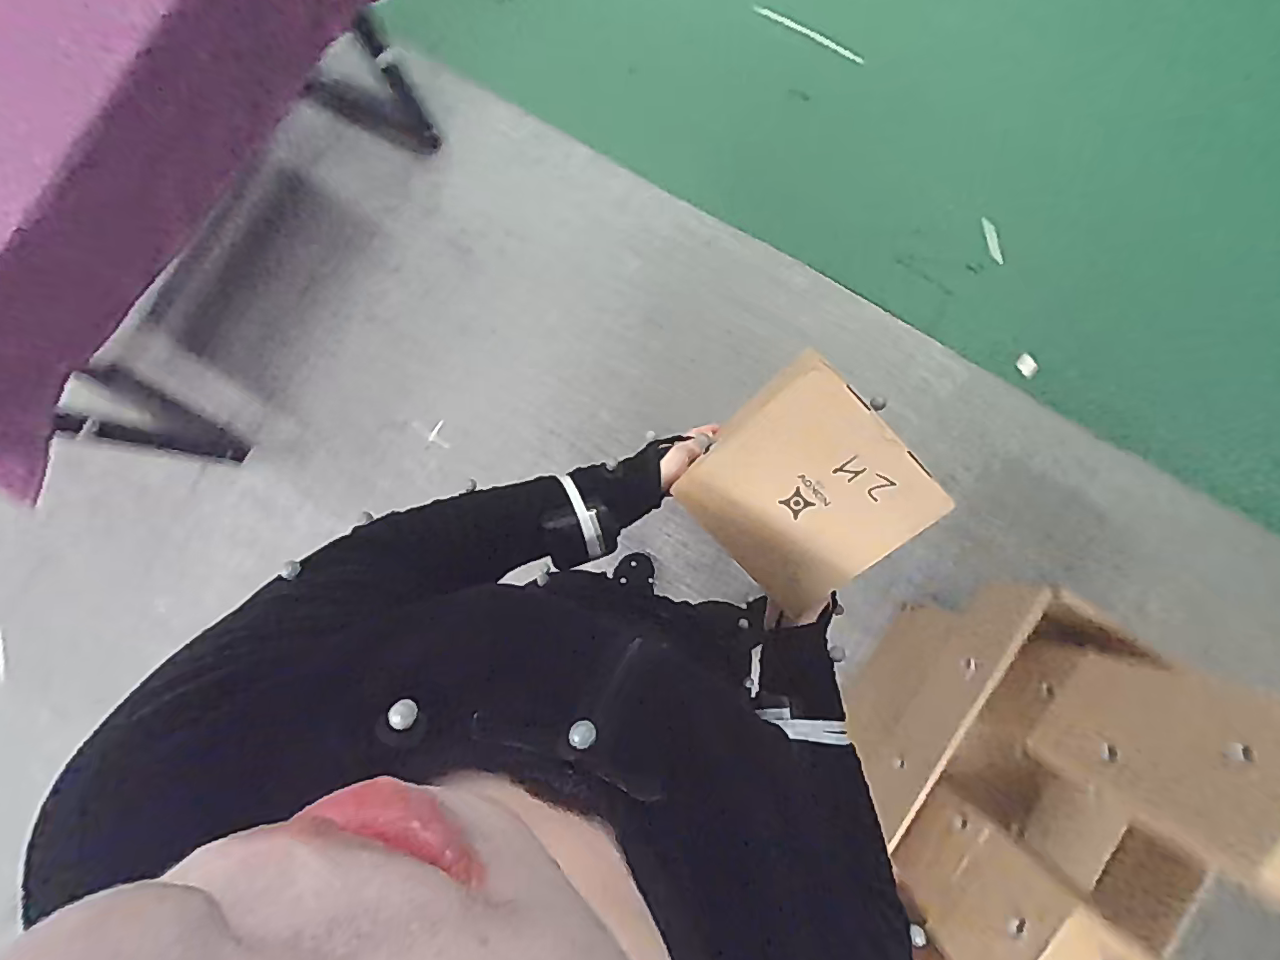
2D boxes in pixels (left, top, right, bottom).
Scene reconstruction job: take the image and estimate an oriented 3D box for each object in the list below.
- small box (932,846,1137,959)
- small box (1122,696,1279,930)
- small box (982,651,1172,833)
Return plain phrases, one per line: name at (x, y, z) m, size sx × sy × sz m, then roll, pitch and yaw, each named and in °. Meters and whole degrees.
small box at (0.518, 0.627, 0.693) m, size 0.168 × 0.176 × 0.179 m, roll 38°, pitch 88°, yaw 7°
small box at (0.667, 0.356, 0.554) m, size 0.168 × 0.176 × 0.179 m, roll 38°, pitch 87°, yaw 8°
small box at (0.705, 0.405, 0.876) m, size 0.168 × 0.176 × 0.179 m, roll 37°, pitch 88°, yaw 8°
